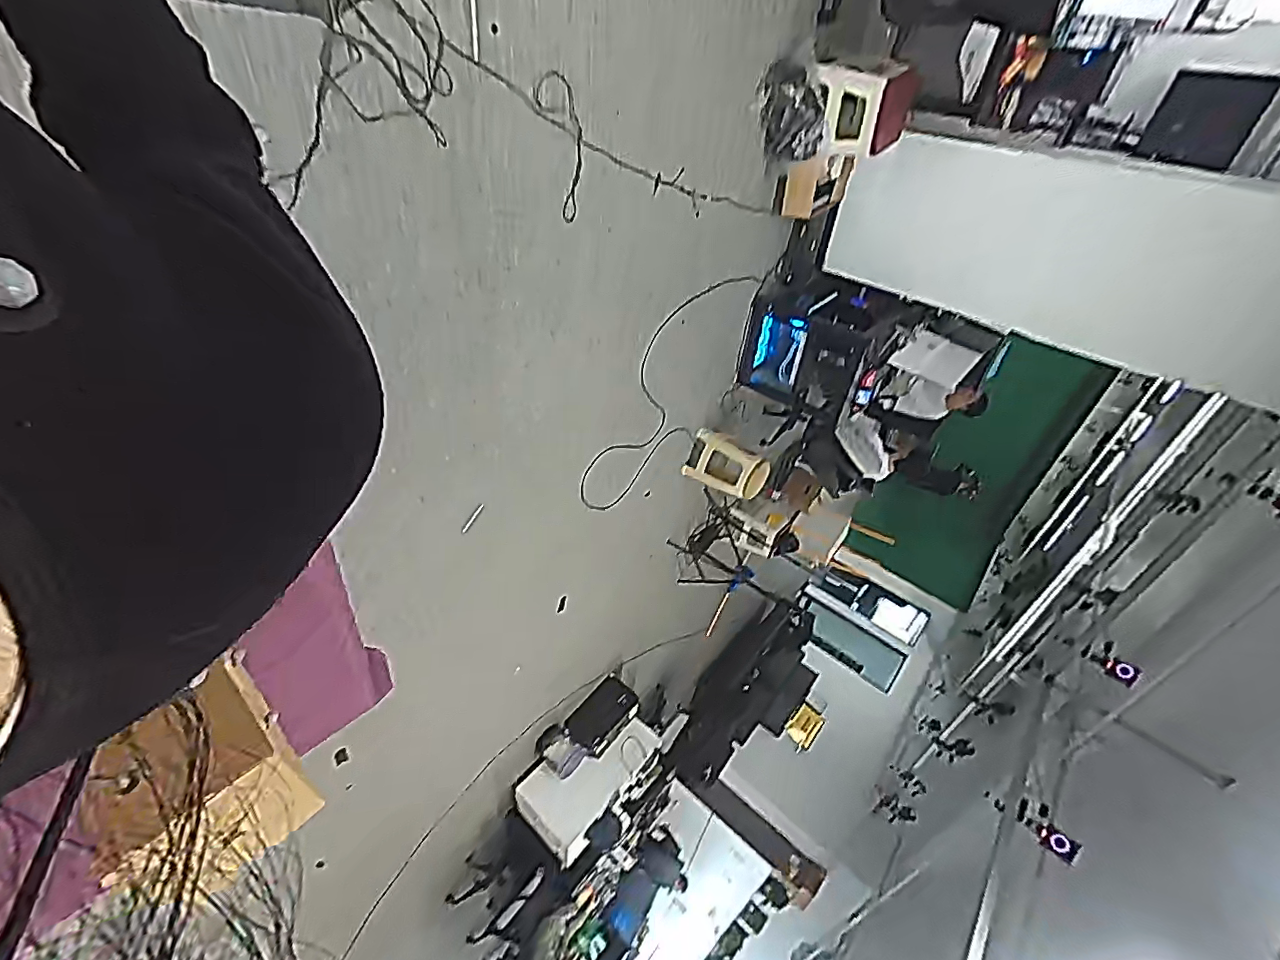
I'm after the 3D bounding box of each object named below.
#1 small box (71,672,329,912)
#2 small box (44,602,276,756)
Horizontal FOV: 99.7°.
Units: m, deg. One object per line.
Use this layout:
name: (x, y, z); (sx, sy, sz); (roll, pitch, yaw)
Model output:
small box: (-0.526, 0.367, 0.659); (0.168, 0.176, 0.179); (-35, 146, -35)
small box: (-0.648, 0.295, 0.740); (0.168, 0.176, 0.179); (-35, 145, -36)
